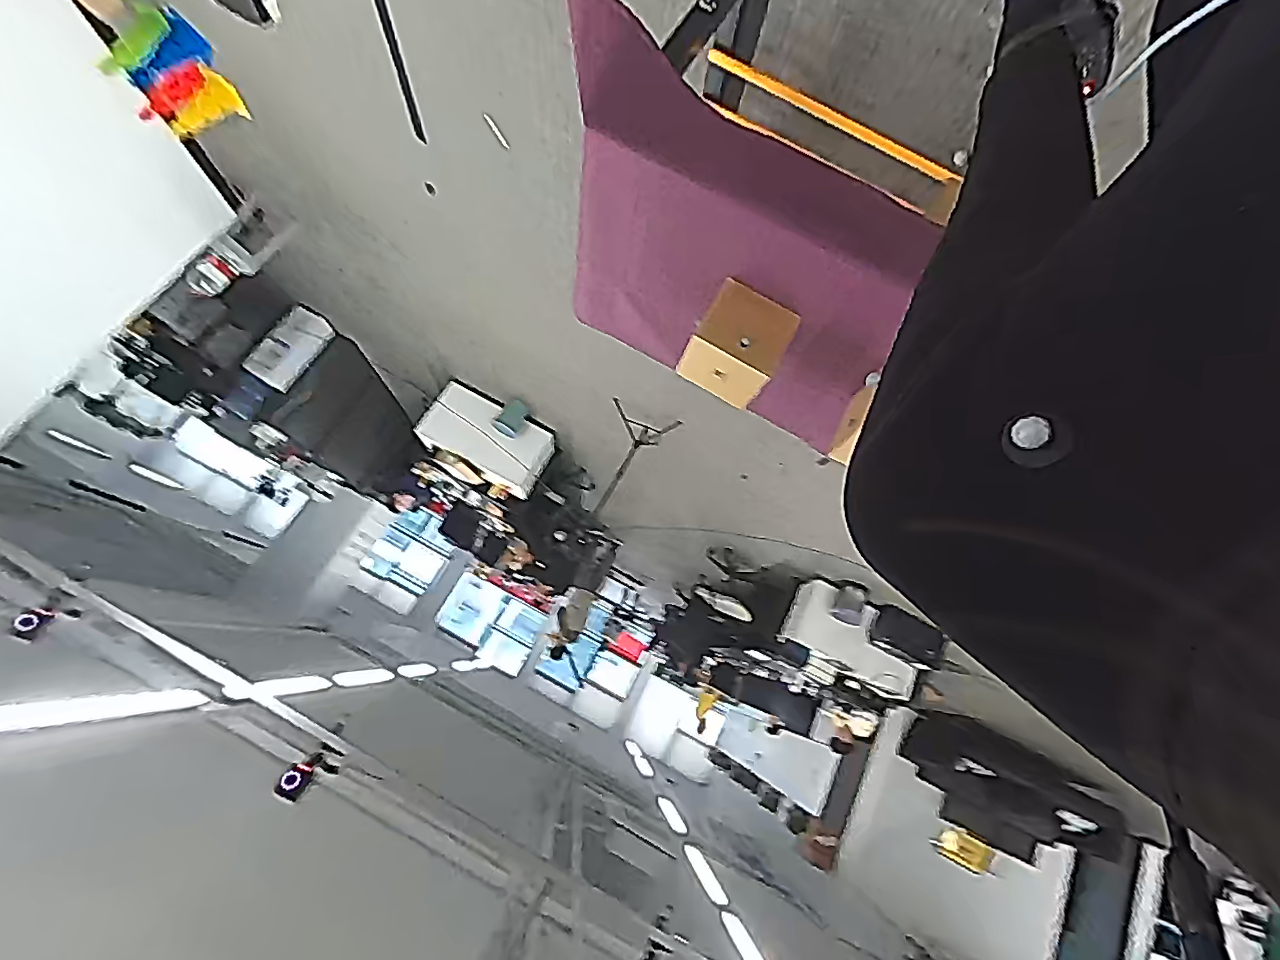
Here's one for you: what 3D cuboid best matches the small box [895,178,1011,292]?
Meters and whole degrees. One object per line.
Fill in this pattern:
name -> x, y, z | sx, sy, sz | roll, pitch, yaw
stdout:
small box -> 0.795, -0.623, 1.374 | 0.179, 0.176, 0.168 | 29, 162, 5

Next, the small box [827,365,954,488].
small box -> 0.532, -0.113, 1.147 | 0.168, 0.176, 0.179 | 28, 162, 4

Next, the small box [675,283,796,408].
small box -> 0.203, -0.292, 1.165 | 0.179, 0.176, 0.168 | 29, 162, -1
